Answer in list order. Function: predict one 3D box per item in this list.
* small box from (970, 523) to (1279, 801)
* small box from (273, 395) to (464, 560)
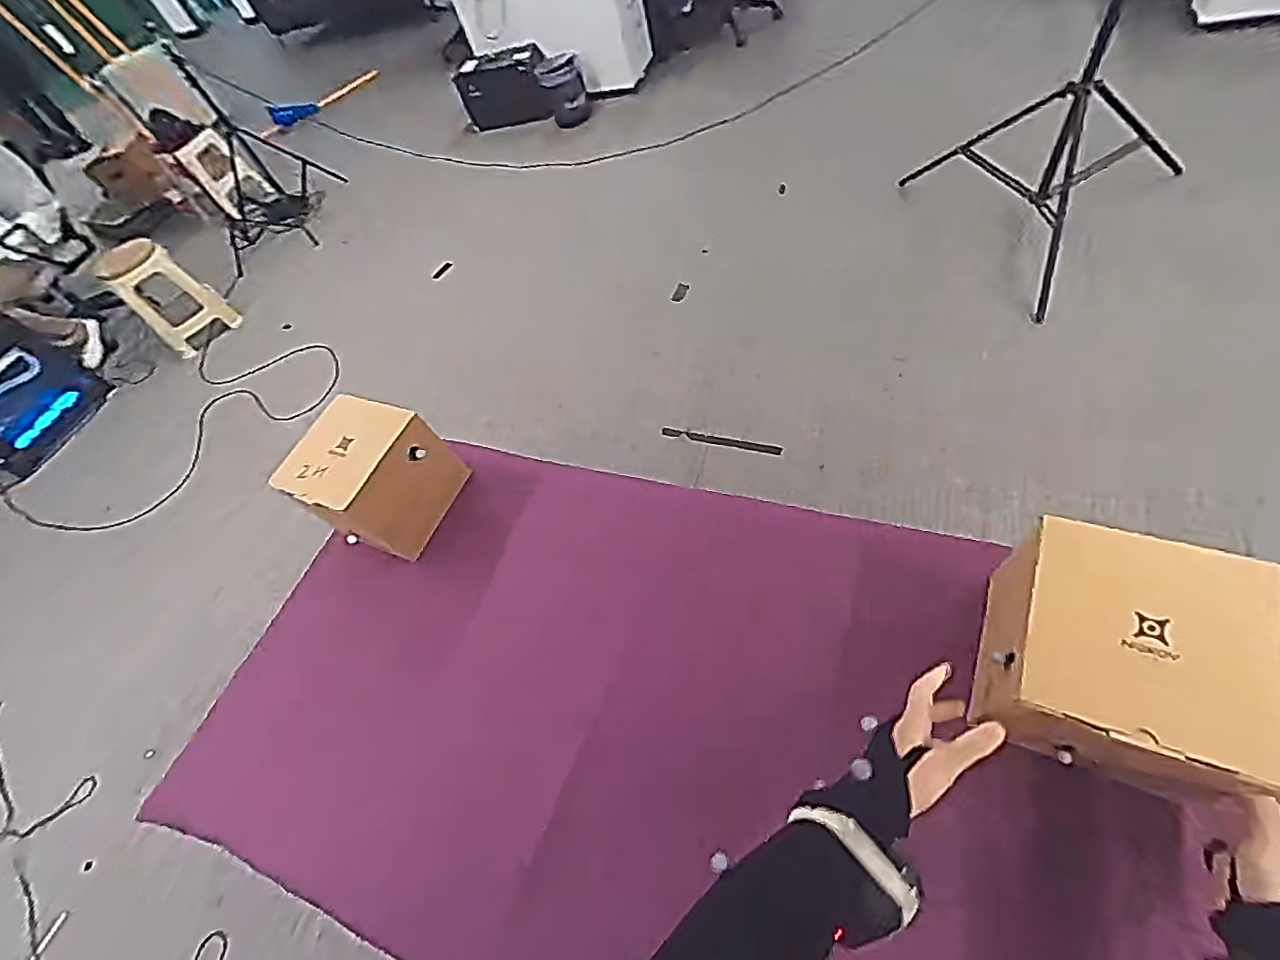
[{"bbox_3d":[0.429,0.170,0.503,0.168,0.176,0.179,15,66,24],"label":"small box"},{"bbox_3d":[-0.404,-0.002,0.844,0.168,0.176,0.179,15,64,23],"label":"small box"}]
